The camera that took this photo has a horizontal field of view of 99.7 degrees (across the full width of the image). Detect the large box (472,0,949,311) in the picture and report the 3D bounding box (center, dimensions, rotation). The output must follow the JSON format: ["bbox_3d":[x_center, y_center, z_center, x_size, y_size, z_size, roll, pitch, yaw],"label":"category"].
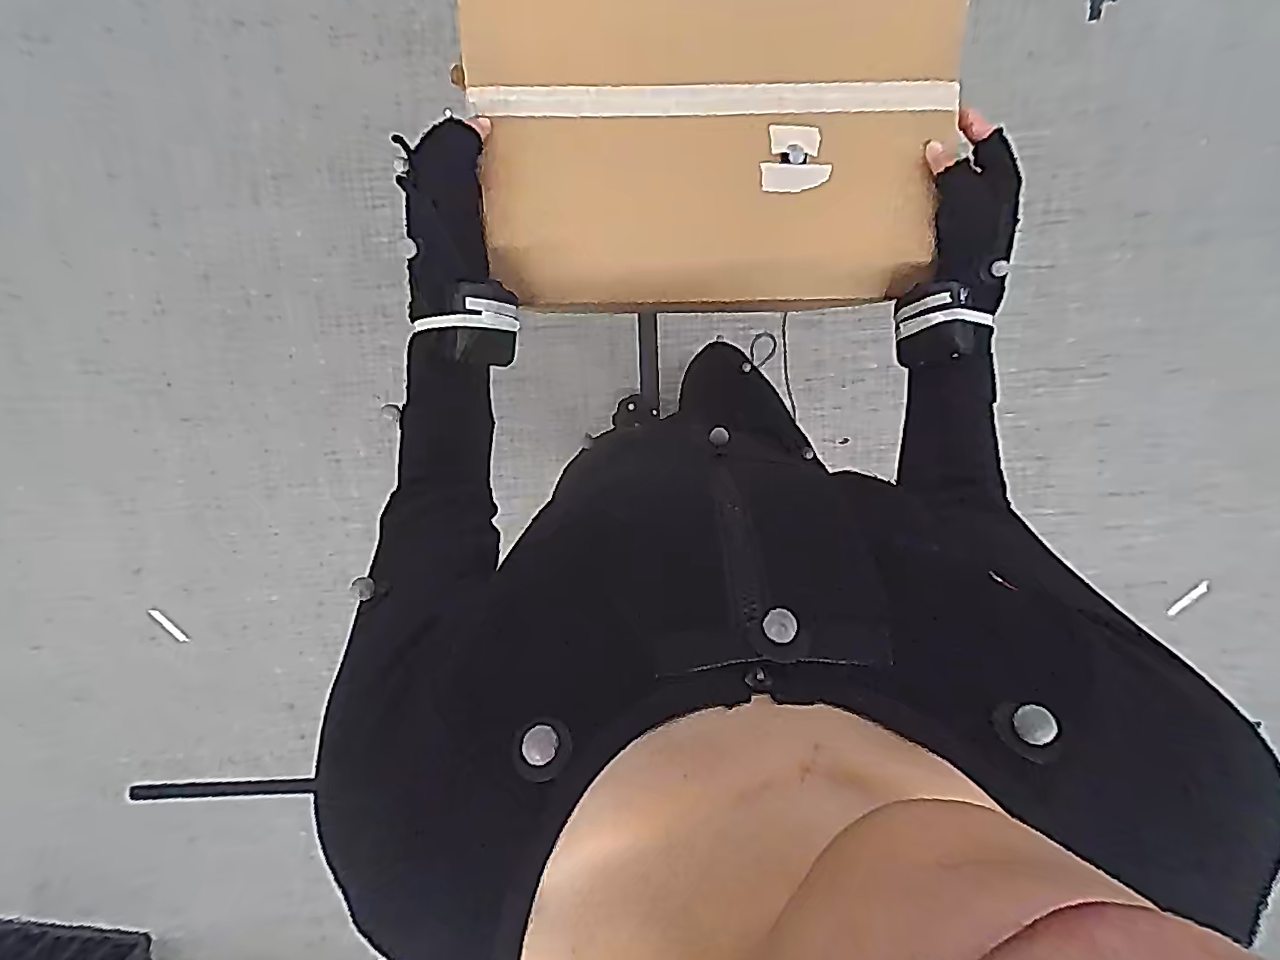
[{"bbox_3d":[0.056,-0.366,0.610,0.408,0.320,0.320,-2,106,-2],"label":"large box"}]
